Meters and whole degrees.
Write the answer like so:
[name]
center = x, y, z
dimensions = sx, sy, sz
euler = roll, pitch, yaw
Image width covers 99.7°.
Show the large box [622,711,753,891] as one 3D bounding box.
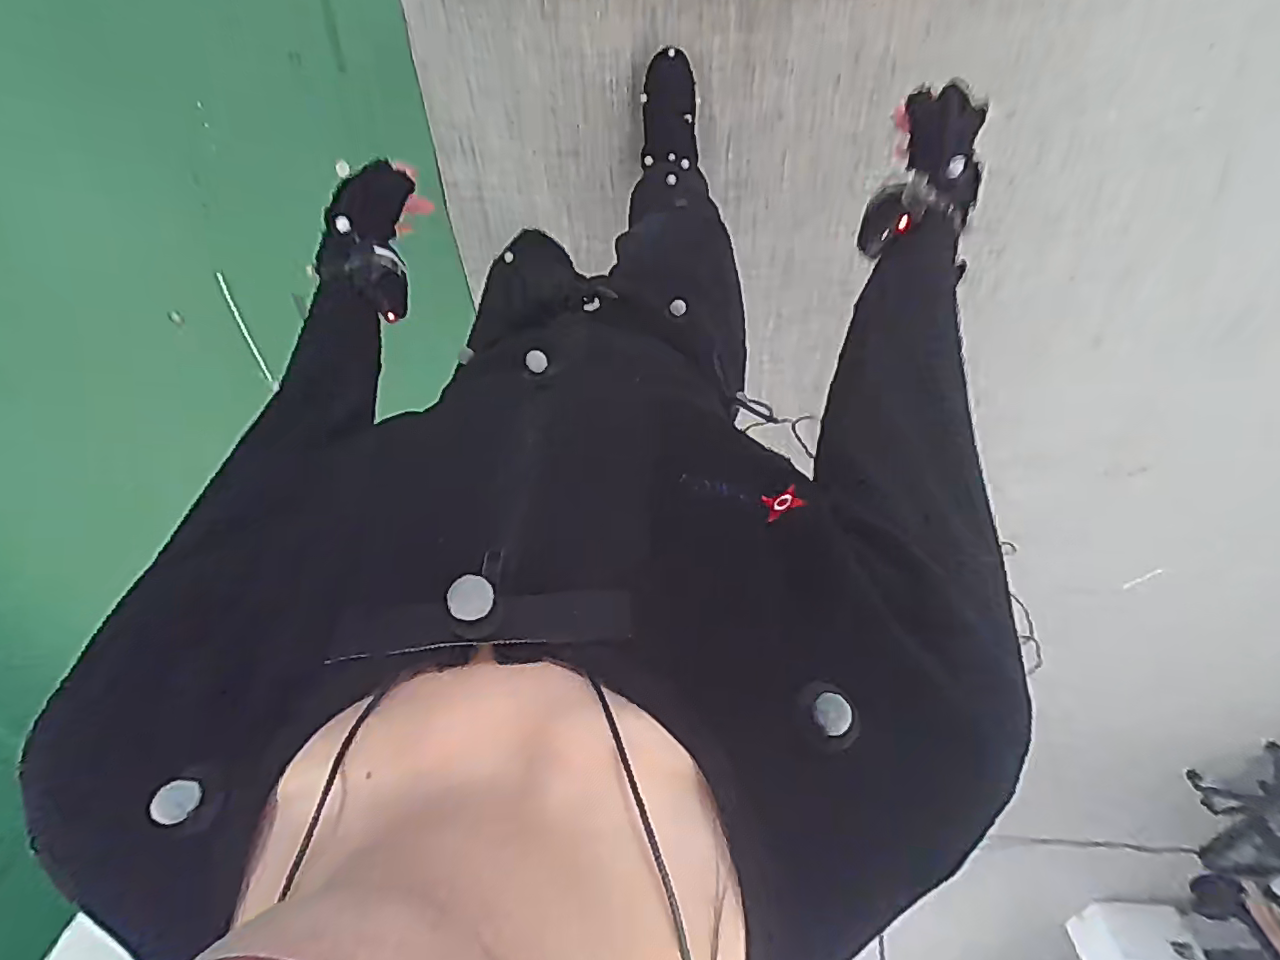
[large box]
center = 0.117, 0.888, 1.500
dimensions = 0.320, 0.320, 0.408
euler = 3, 129, 2
